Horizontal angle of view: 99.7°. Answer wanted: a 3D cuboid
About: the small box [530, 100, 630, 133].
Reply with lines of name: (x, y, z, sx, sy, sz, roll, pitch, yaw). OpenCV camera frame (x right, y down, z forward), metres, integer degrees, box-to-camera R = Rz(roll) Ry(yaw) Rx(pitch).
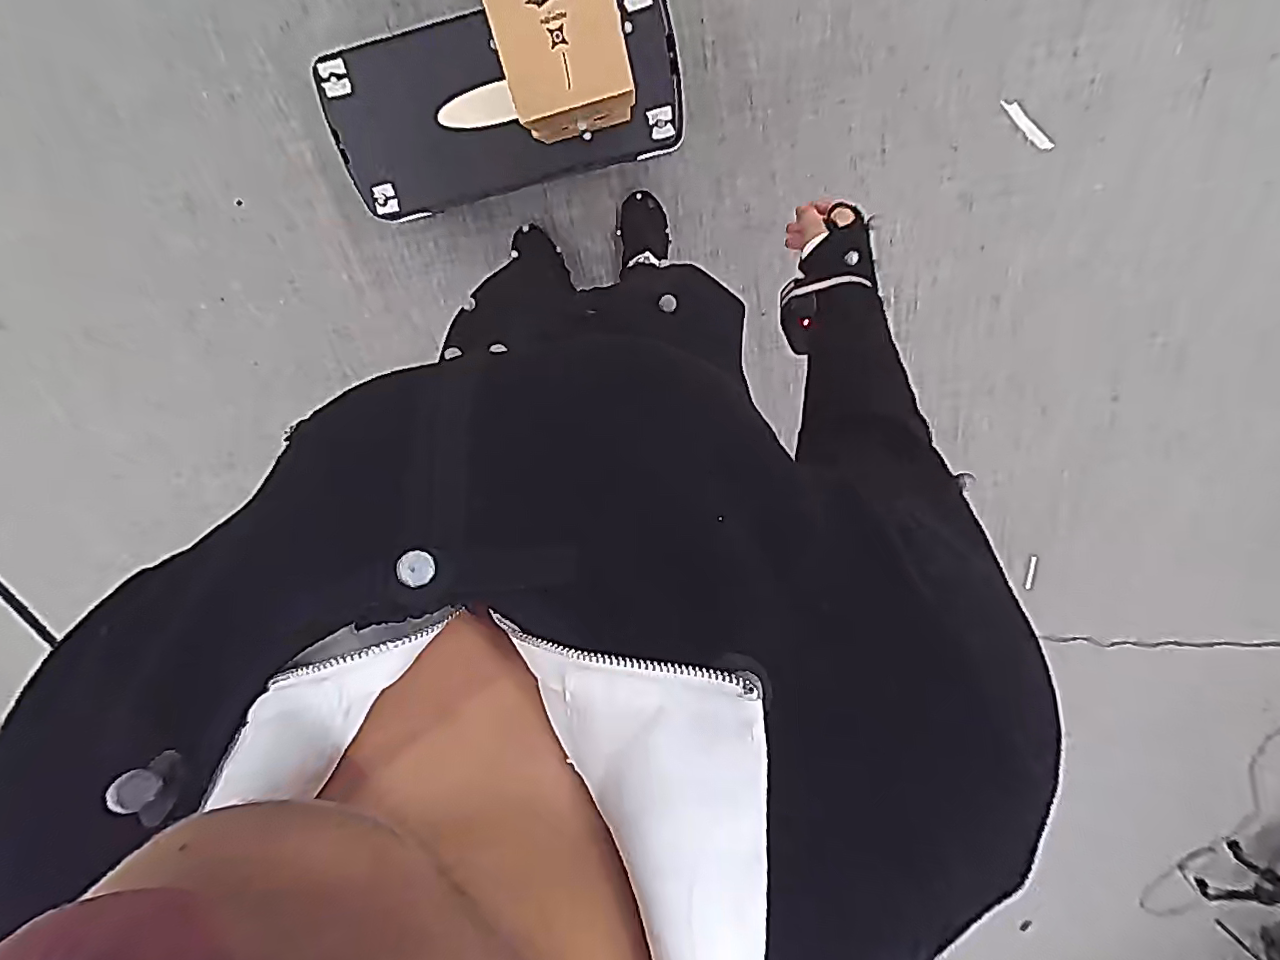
small box: (-0.117, -0.705, 0.912, 0.168, 0.176, 0.179, -12, 119, 7)

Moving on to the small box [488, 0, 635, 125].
small box: (-0.106, -0.629, 0.766, 0.168, 0.176, 0.179, -12, 119, 7)
